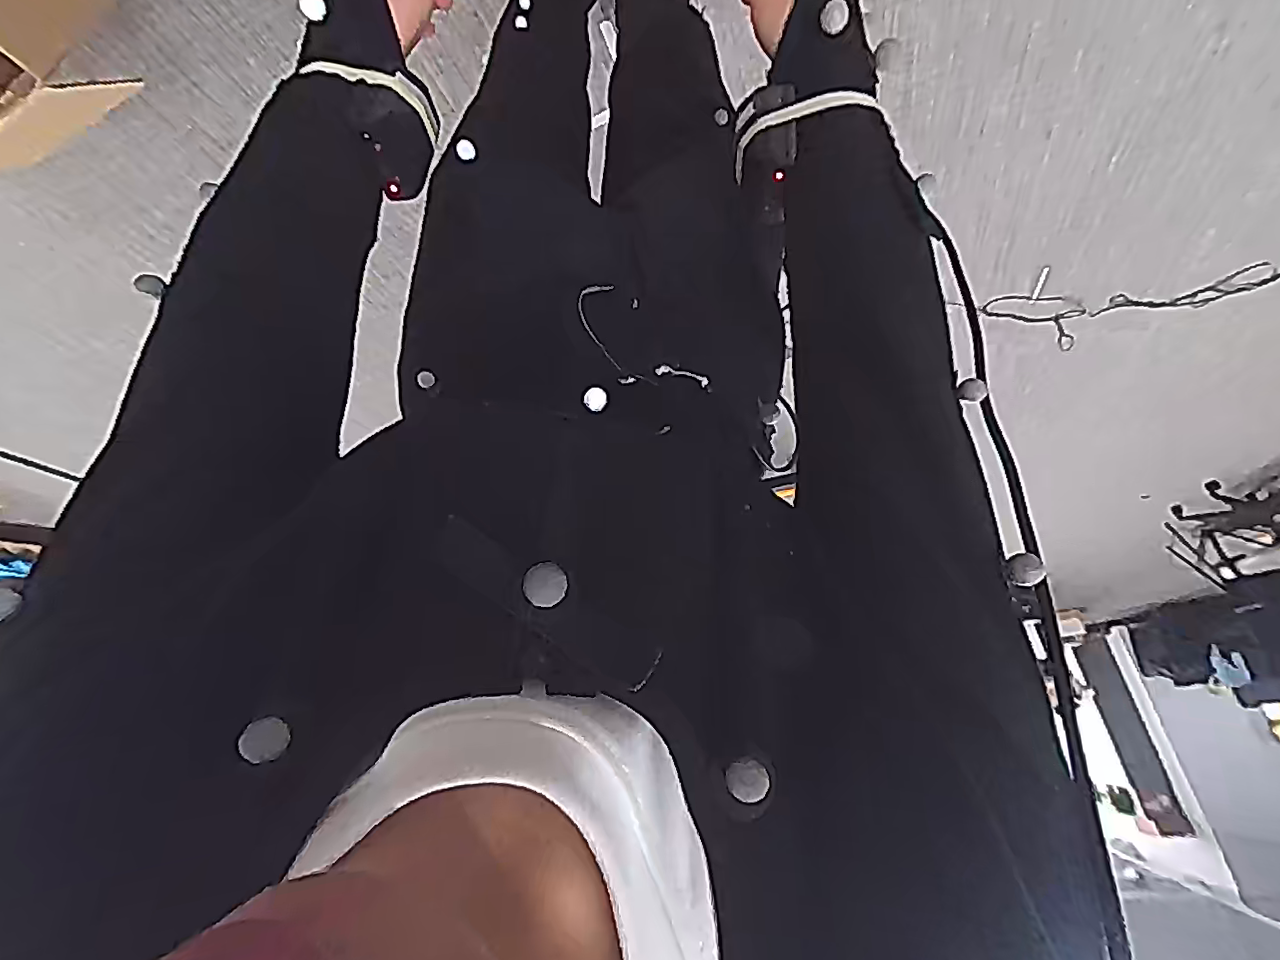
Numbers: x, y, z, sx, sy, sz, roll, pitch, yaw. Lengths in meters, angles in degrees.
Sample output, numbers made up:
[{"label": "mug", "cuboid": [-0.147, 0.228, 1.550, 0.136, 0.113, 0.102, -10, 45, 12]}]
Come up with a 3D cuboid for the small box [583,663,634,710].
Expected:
[{"label": "small box", "cuboid": [-0.136, 0.889, 2.321, 0.179, 0.176, 0.168, -12, 153, 14]}]
